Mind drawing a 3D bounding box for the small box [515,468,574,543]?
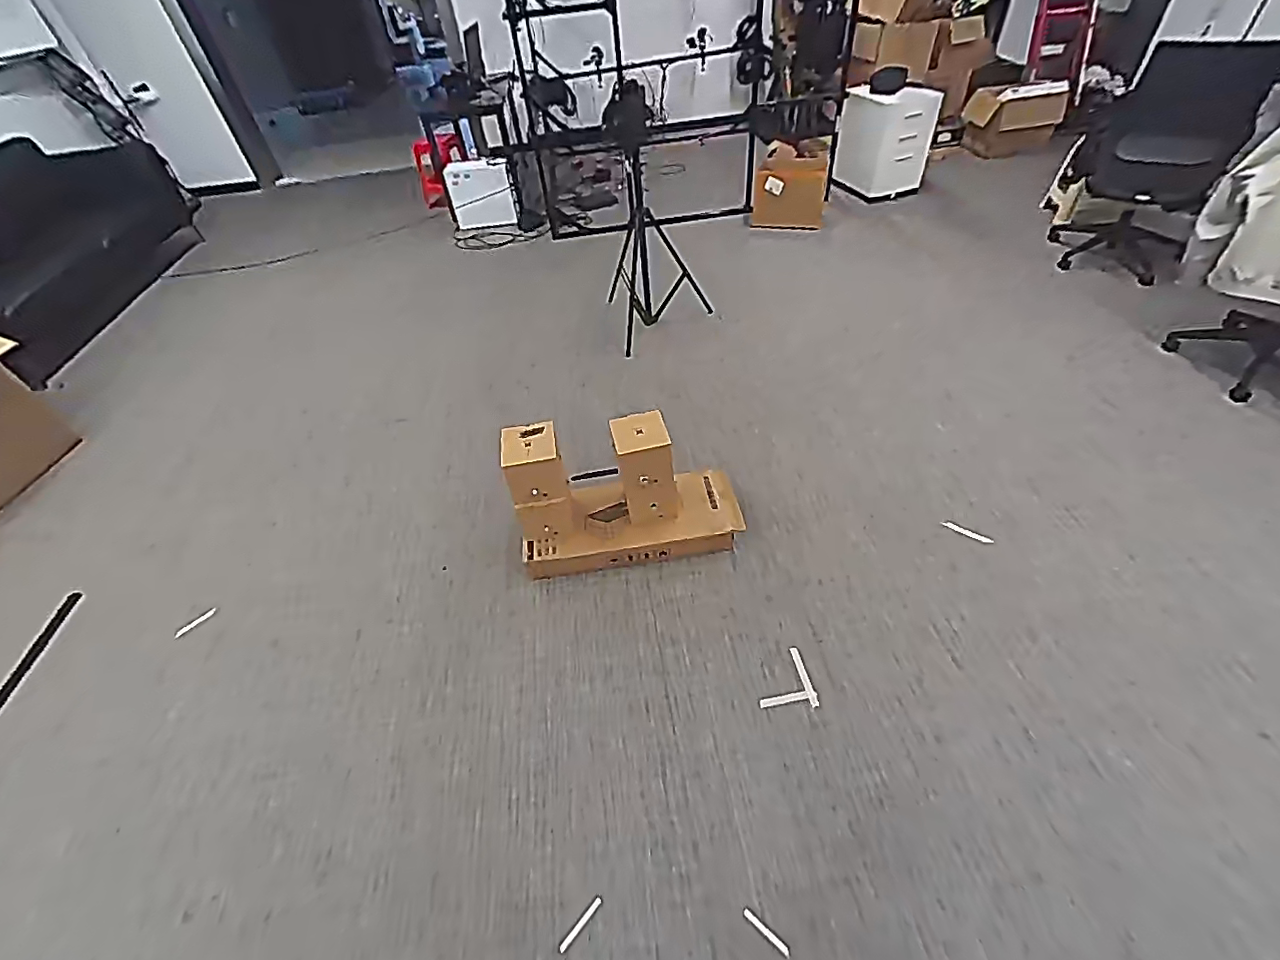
[{"bbox_3d":[-0.317,0.085,1.808,0.168,0.176,0.179,-9,45,-3],"label":"small box"}]

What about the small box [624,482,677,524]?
[{"bbox_3d":[0.029,0.033,1.826,0.168,0.176,0.179,-11,46,-2],"label":"small box"}]

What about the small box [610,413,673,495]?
[{"bbox_3d":[0.005,-0.081,1.710,0.168,0.176,0.179,-13,45,-5],"label":"small box"}]

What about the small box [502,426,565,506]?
[{"bbox_3d":[-0.333,-0.042,1.704,0.168,0.176,0.179,-10,45,-4],"label":"small box"}]
